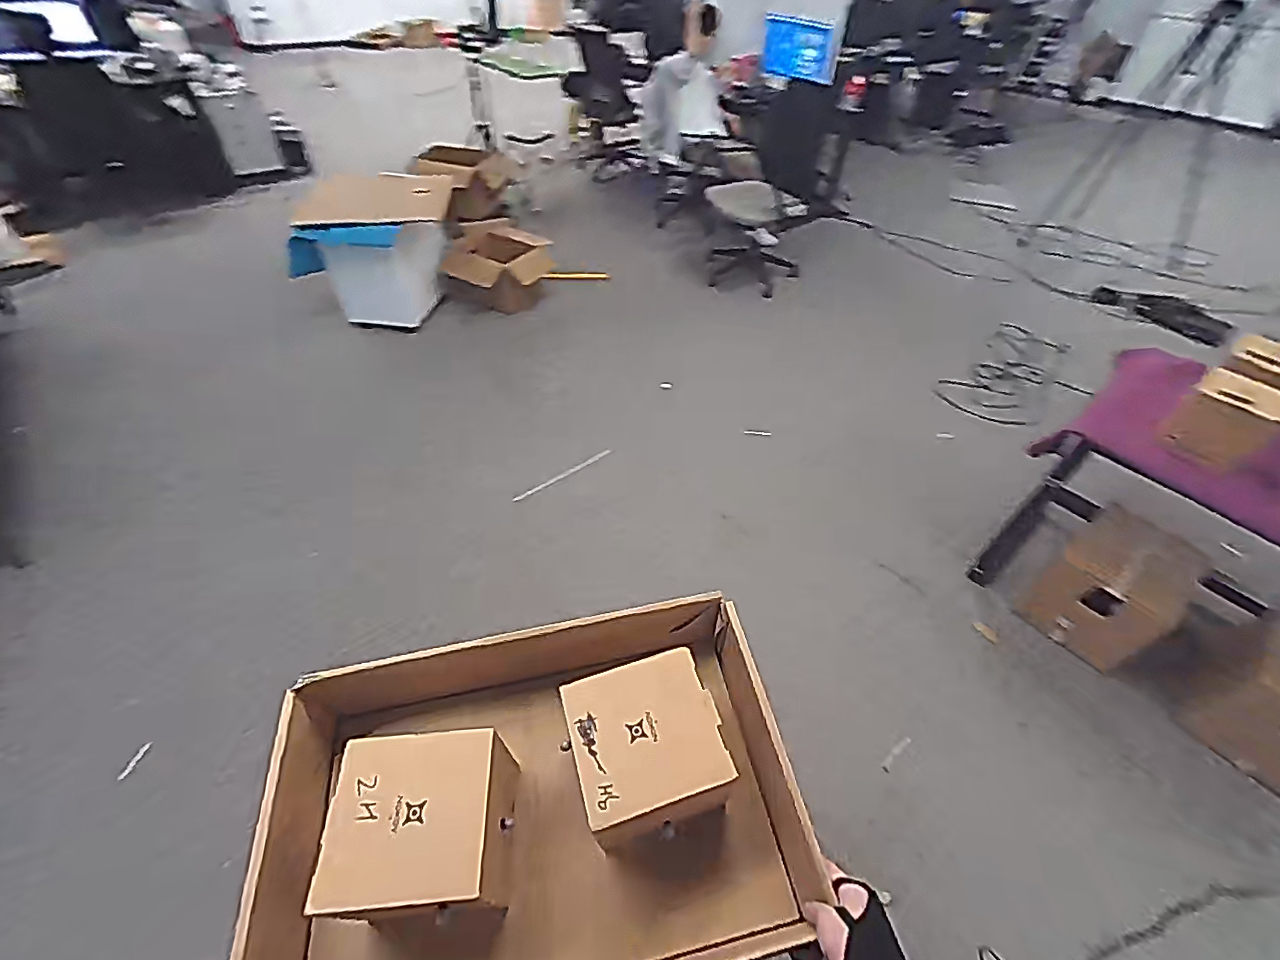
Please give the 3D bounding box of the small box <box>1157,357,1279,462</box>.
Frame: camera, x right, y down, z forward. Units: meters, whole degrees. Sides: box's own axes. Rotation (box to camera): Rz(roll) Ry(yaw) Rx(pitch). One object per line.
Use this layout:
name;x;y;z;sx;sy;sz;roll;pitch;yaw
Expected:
small box;1.452;-0.173;1.345;0.179;0.176;0.168;-30;54;-28

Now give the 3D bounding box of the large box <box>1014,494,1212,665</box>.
large box;1.547;0.325;1.790;0.408;0.320;0.320;-29;54;-27

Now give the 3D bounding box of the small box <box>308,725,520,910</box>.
small box;-0.247;0.407;0.651;0.179;0.176;0.168;-2;49;-2
